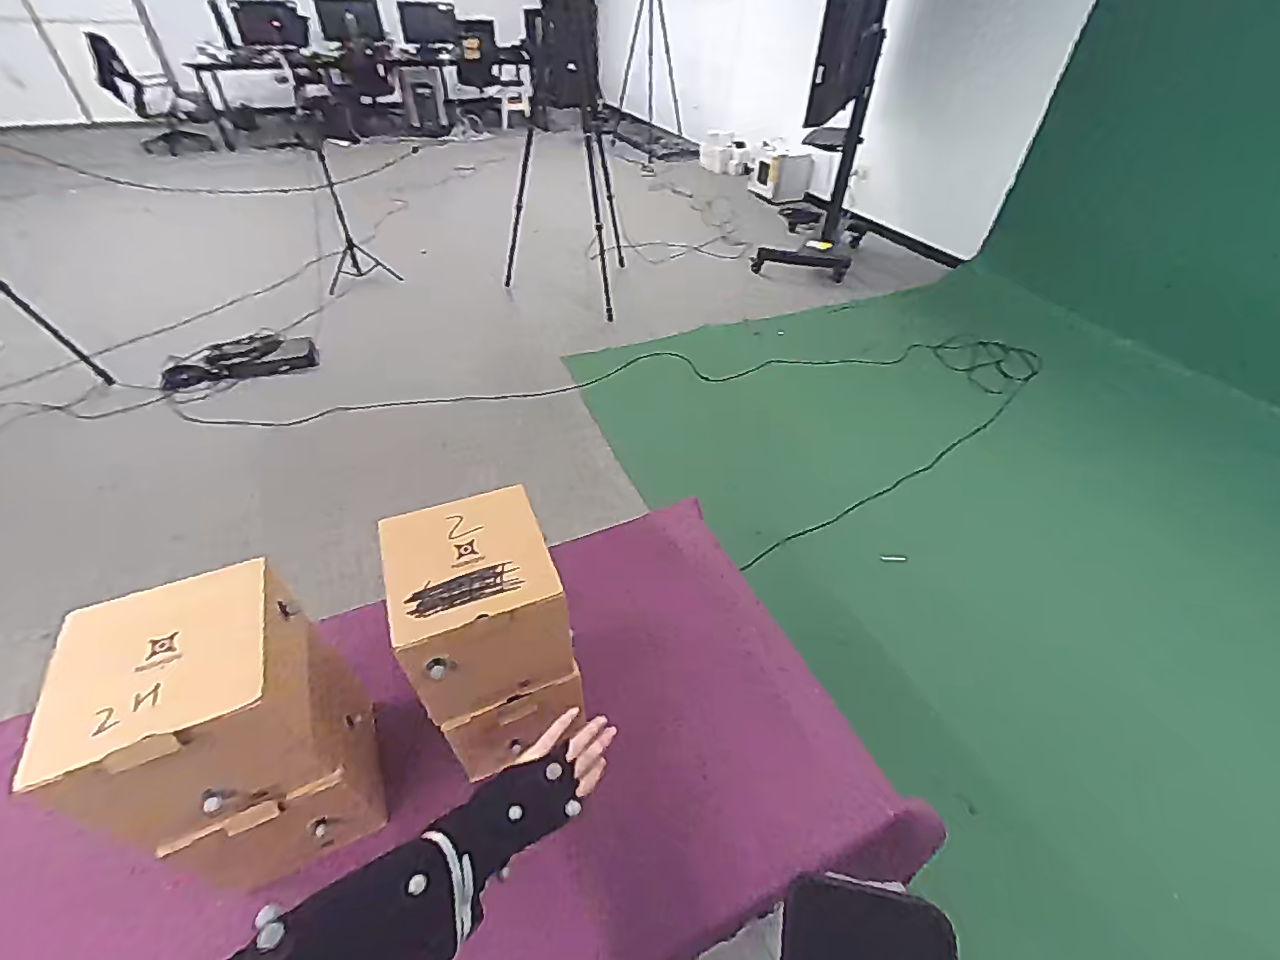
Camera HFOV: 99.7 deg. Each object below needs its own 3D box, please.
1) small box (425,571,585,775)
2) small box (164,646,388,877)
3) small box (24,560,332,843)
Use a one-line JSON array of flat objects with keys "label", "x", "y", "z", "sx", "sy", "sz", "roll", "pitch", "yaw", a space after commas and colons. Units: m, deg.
[{"label": "small box", "x": -0.181, "y": 0.262, "z": 0.741, "sx": 0.168, "sy": 0.176, "sz": 0.179, "roll": -17, "pitch": 47, "yaw": -19}, {"label": "small box", "x": -0.418, "y": 0.341, "z": 0.651, "sx": 0.168, "sy": 0.176, "sz": 0.179, "roll": -17, "pitch": 45, "yaw": -19}, {"label": "small box", "x": -0.428, "y": 0.217, "z": 0.542, "sx": 0.168, "sy": 0.176, "sz": 0.179, "roll": -17, "pitch": 46, "yaw": -19}]
